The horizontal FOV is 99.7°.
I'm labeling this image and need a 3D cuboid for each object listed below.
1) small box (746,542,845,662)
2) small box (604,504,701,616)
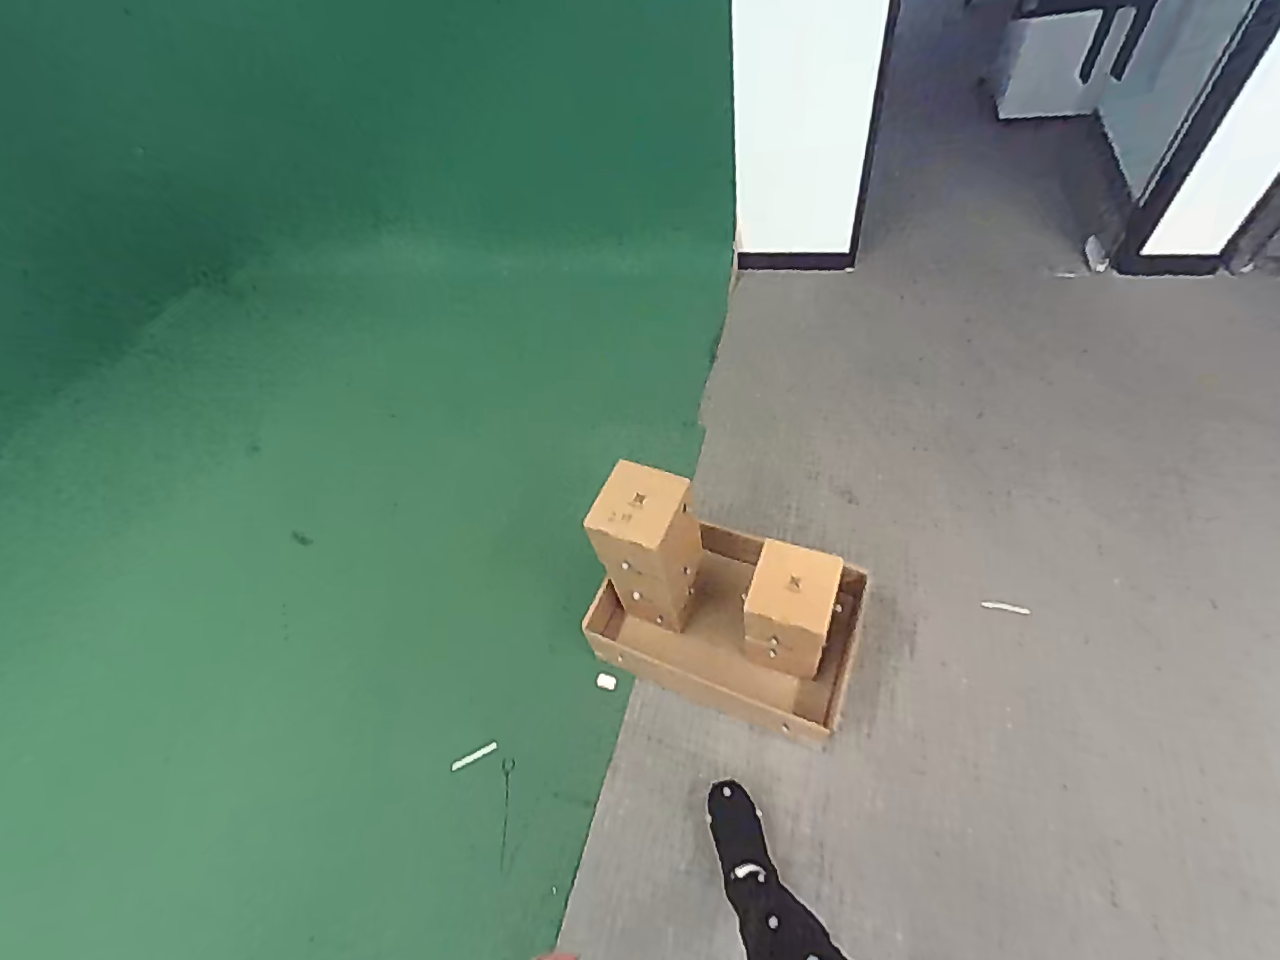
[{"bbox_3d":[0.332,0.265,1.169,0.168,0.176,0.179,14,60,21],"label":"small box"},{"bbox_3d":[0.038,0.191,1.285,0.168,0.176,0.179,19,62,22],"label":"small box"}]
